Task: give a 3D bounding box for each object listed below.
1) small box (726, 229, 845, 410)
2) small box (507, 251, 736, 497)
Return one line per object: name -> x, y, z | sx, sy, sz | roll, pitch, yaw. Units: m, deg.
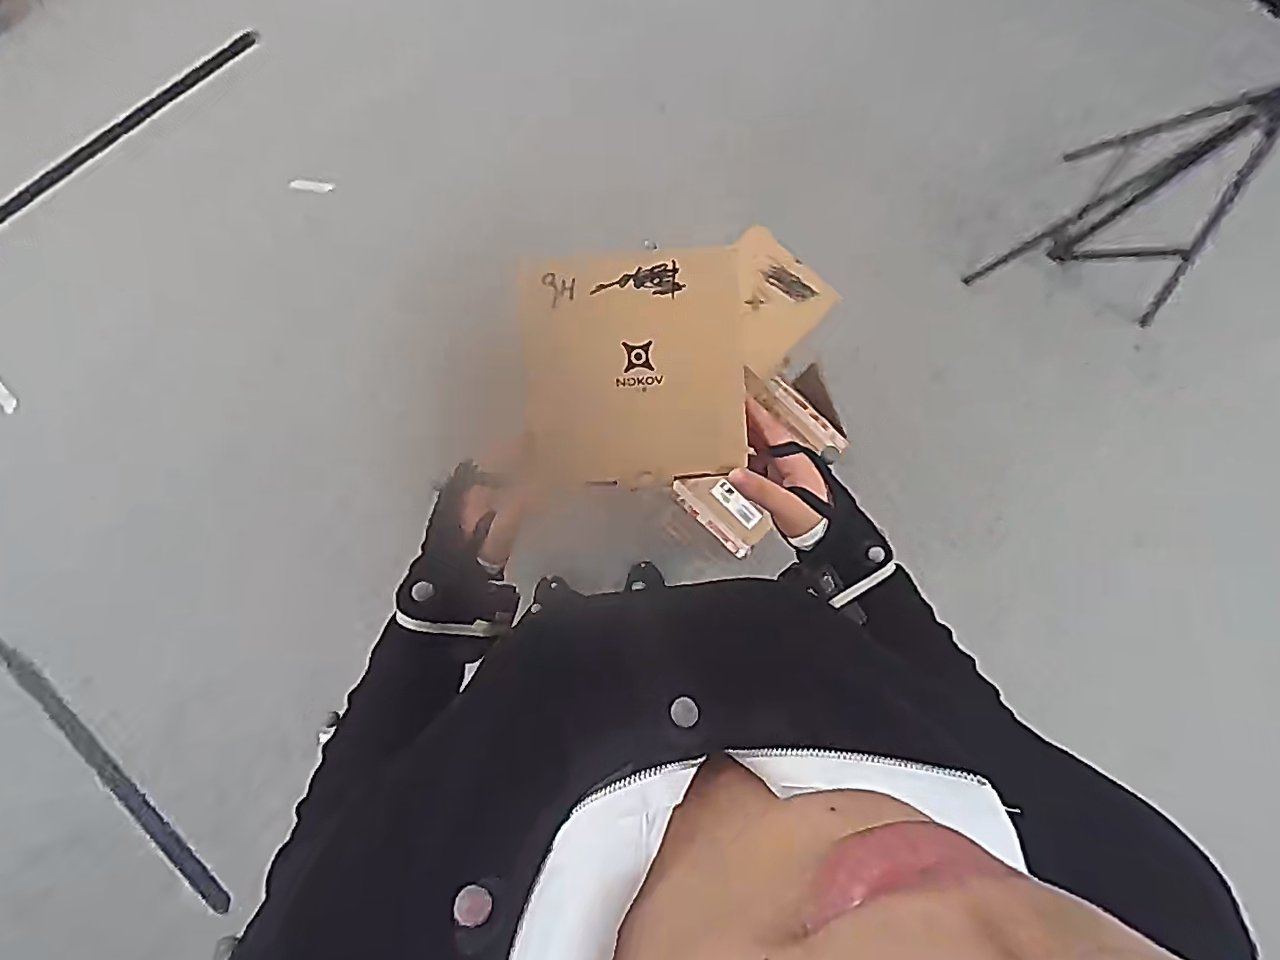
small box -> 0.176, -0.239, 0.847 | 0.168, 0.176, 0.179 | 45, 84, 6
small box -> -0.018, -0.089, 0.488 | 0.168, 0.176, 0.179 | -6, 97, -6
